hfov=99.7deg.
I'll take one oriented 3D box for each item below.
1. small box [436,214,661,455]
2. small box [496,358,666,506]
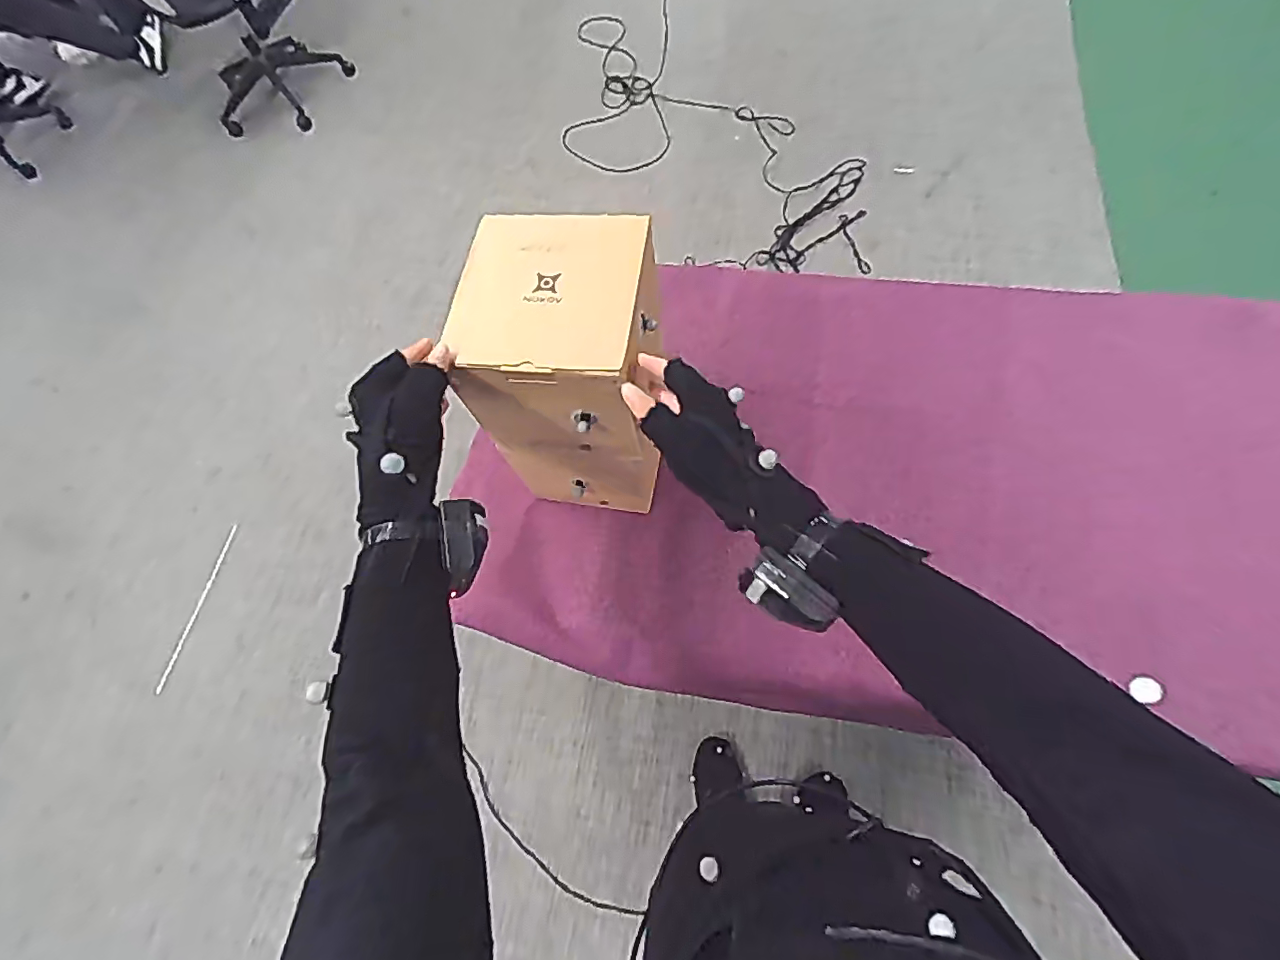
[{"bbox_3d":[-0.074,-0.139,0.551,0.168,0.176,0.179,5,67,9],"label":"small box"},{"bbox_3d":[-0.061,-0.078,0.702,0.168,0.176,0.179,7,68,10],"label":"small box"}]
